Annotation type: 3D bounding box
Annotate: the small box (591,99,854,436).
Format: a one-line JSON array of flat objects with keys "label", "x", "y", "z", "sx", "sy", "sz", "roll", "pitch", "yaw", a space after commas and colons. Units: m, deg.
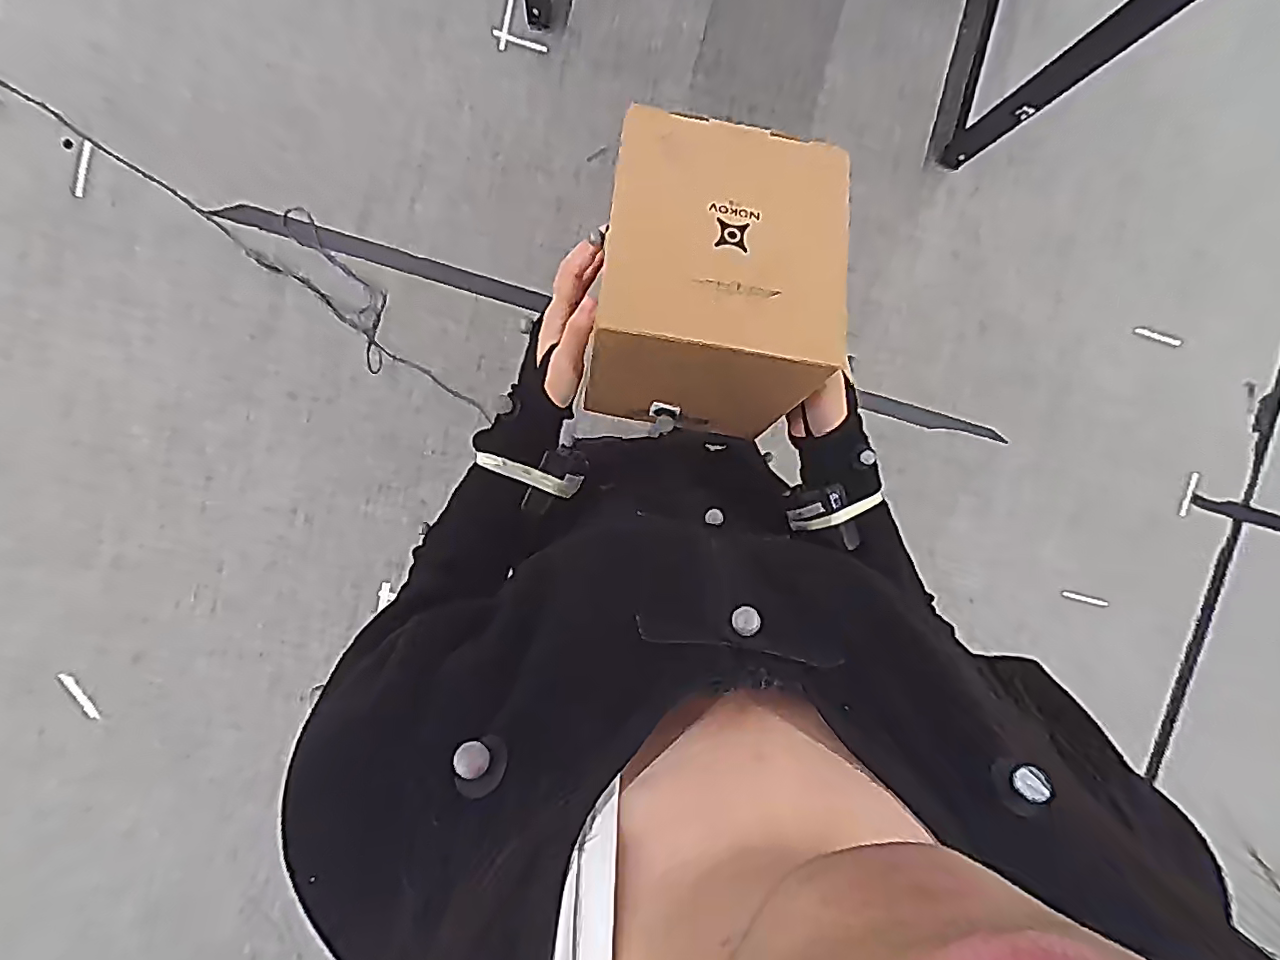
[{"label": "small box", "x": 0.053, "y": -0.151, "z": 0.438, "sx": 0.168, "sy": 0.176, "sz": 0.179, "roll": 7, "pitch": 77, "yaw": -6}]
